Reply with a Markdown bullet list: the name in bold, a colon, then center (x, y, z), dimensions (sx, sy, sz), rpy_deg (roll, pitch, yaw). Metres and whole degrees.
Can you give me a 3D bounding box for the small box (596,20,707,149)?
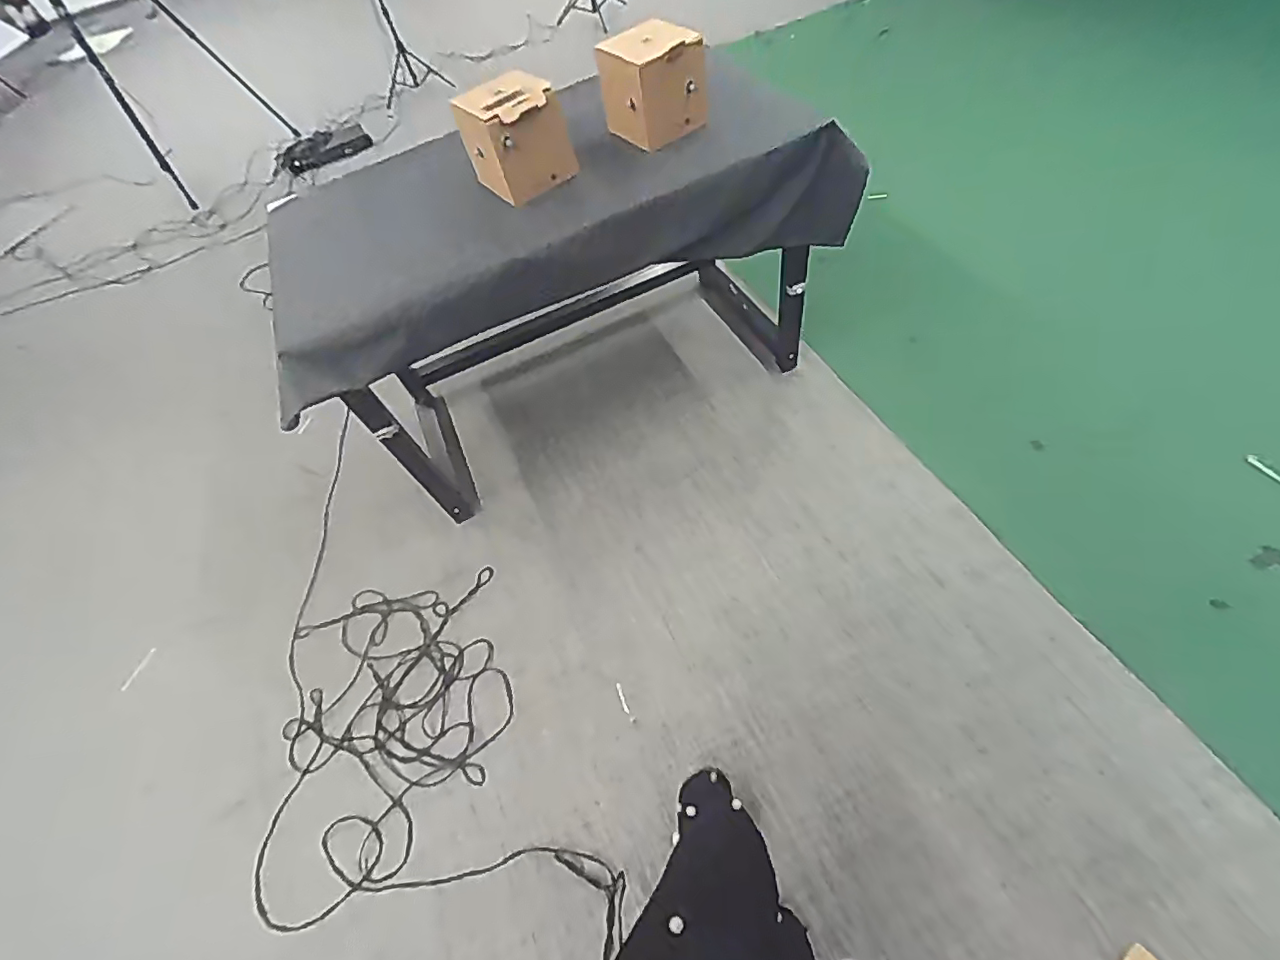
- **small box**: center (0.032, -0.853, 1.175), dimensions (0.168, 0.176, 0.179), rpy_deg (-34, 56, -13)
